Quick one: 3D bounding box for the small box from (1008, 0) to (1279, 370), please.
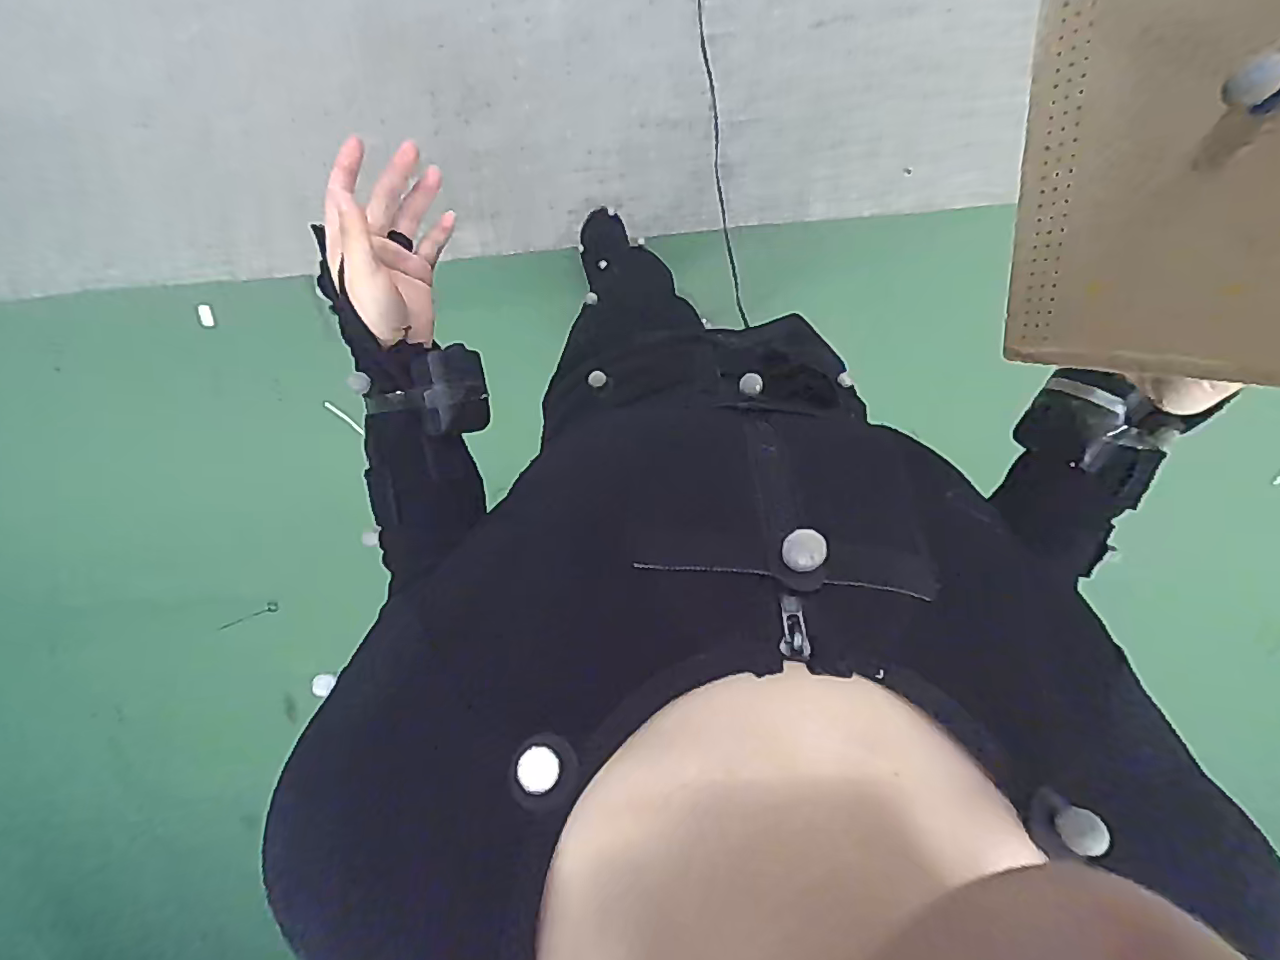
[{"bbox_3d":[0.291,-0.142,0.222,0.168,0.176,0.179,-10,107,-8],"label":"small box"}]
